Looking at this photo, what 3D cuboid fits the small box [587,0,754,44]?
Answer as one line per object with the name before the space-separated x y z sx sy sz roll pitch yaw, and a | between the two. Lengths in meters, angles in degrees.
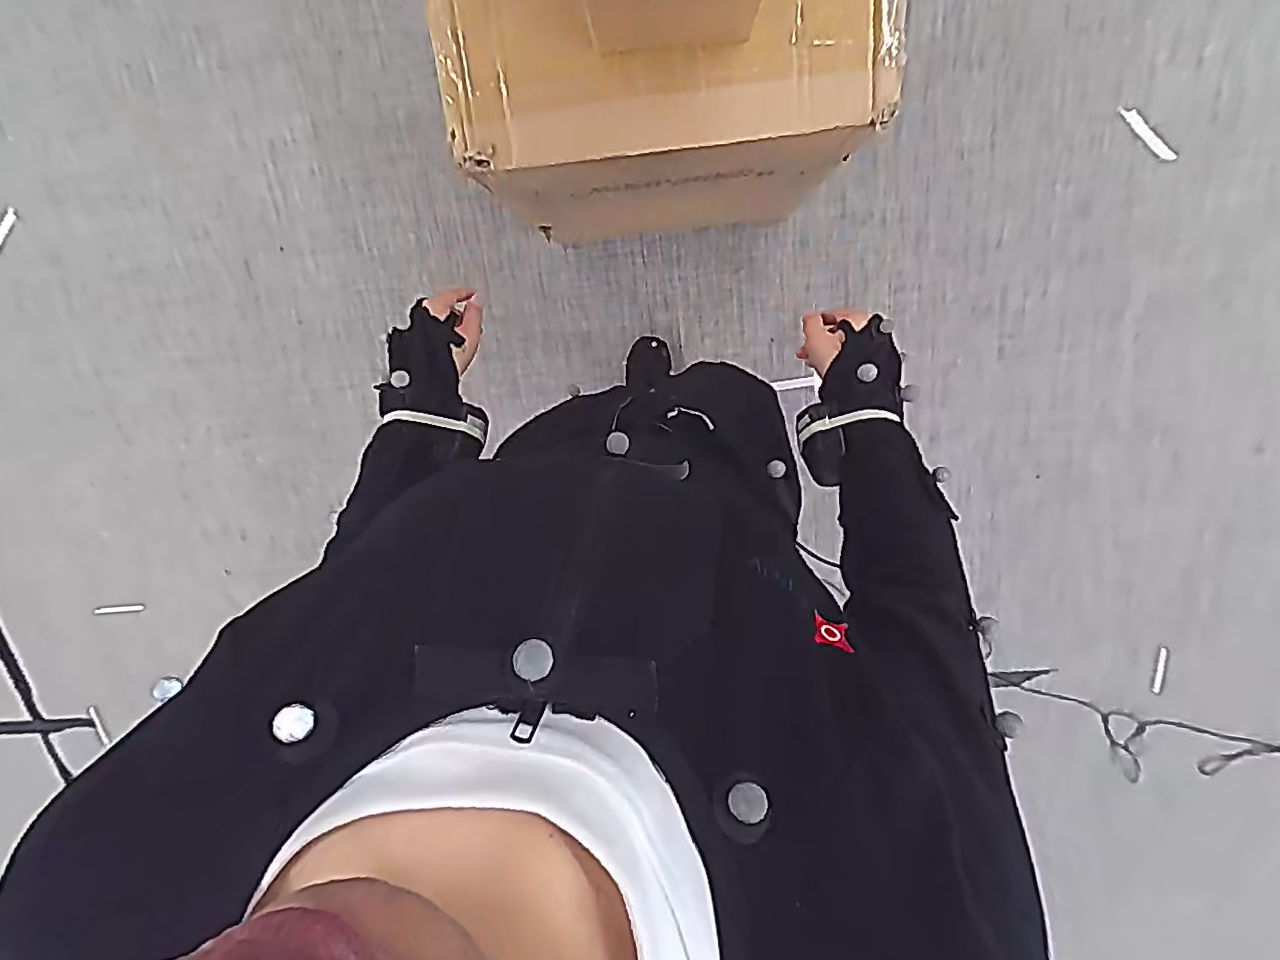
small box | 0.028 -0.546 0.506 0.179 0.176 0.168 -3 106 3
